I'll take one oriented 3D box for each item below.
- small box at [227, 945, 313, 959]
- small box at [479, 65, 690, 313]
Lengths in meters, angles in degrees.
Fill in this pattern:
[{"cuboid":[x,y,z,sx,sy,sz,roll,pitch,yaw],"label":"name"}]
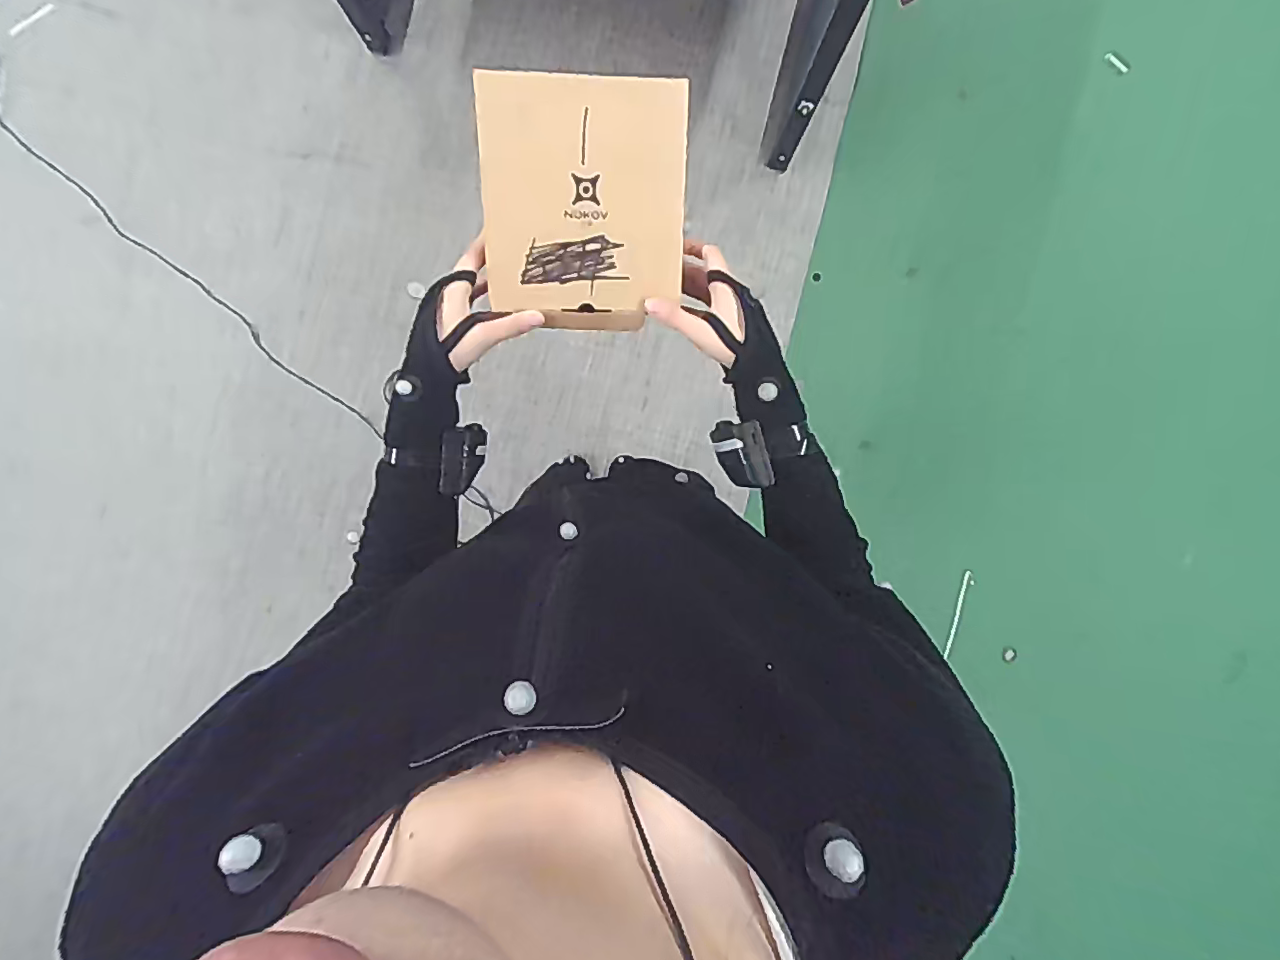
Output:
[{"cuboid":[-0.762,1.055,1.051,0.168,0.176,0.179,-1,92,0],"label":"small box"},{"cuboid":[-0.050,-0.258,0.518,0.168,0.176,0.179,0,109,-5],"label":"small box"}]
